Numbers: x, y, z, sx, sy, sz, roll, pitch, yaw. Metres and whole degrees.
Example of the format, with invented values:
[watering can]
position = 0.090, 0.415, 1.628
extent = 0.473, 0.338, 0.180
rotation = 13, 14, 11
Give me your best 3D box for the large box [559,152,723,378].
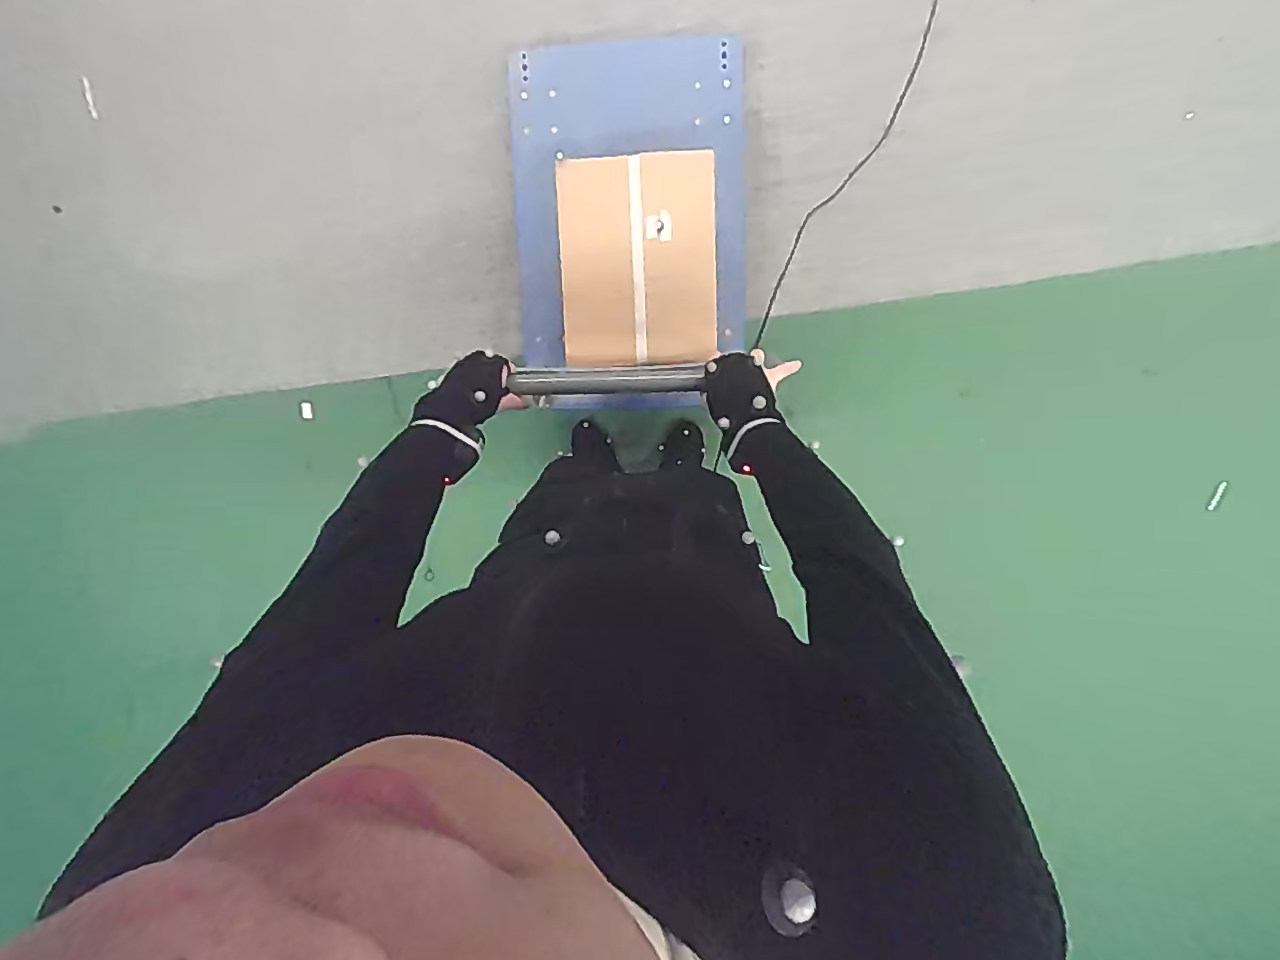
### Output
[large box]
position = 0.011, -0.447, 1.220
extent = 0.320, 0.320, 0.408
rotation = -2, 98, 2
